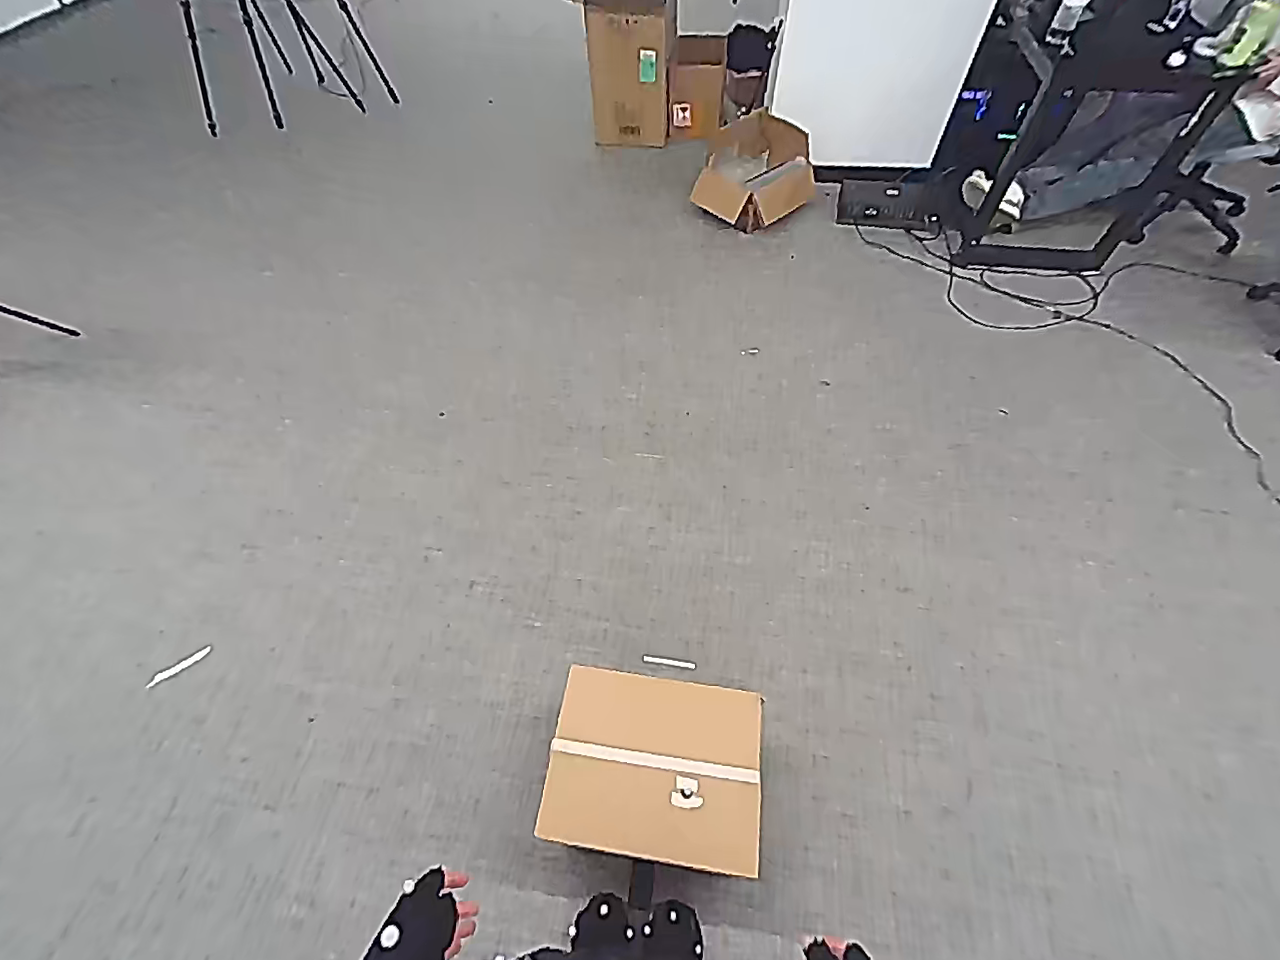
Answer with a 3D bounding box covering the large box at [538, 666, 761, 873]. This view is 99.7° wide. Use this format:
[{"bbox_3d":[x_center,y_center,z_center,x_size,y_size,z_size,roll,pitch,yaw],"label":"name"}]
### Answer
[{"bbox_3d":[0.029,0.624,1.164,0.408,0.320,0.320,7,56,5],"label":"large box"}]
